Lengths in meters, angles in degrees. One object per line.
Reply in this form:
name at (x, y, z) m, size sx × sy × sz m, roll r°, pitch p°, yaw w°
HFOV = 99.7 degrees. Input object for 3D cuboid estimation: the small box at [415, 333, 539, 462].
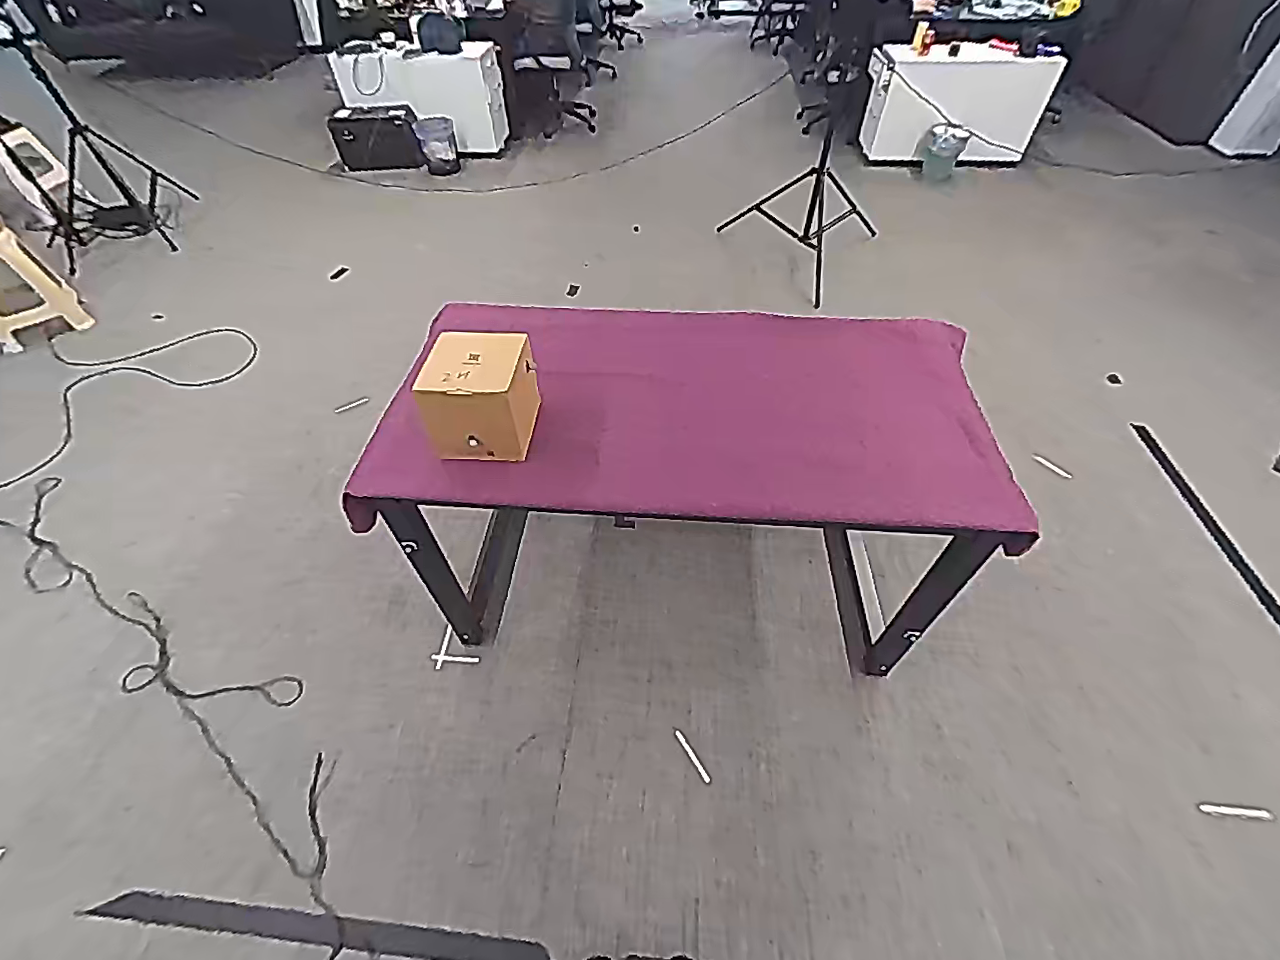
small box at (-0.291, -0.155, 1.016) m, size 0.168 × 0.176 × 0.179 m, roll 2°, pitch 49°, yaw 3°
